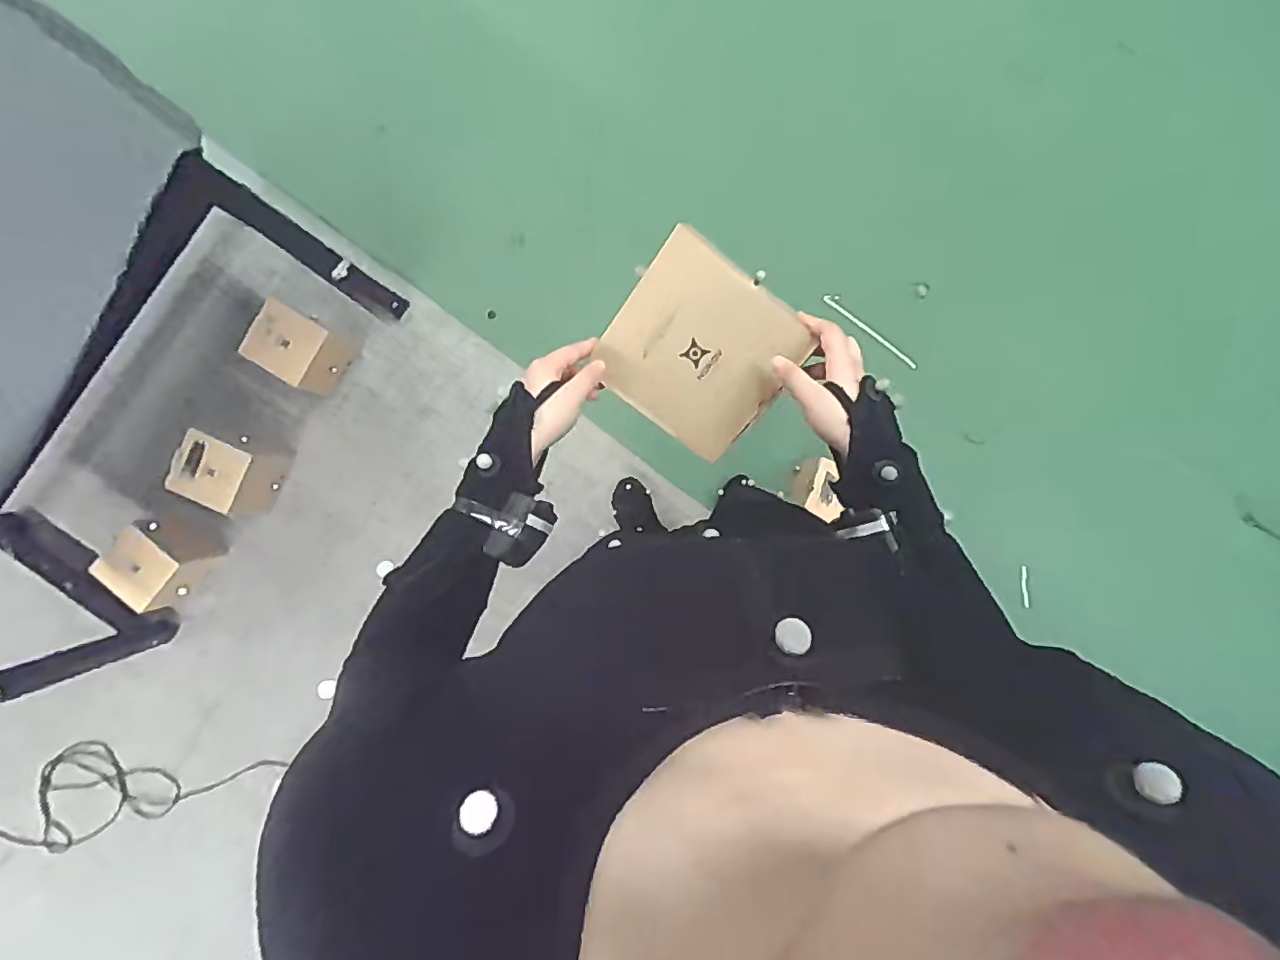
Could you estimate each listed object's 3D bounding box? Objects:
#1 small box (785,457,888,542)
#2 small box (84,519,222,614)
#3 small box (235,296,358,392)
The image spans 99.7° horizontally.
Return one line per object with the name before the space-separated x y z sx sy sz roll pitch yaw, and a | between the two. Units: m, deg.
small box | 0.498 0.048 1.402 0.179 0.176 0.168 21 92 0
small box | -1.266 0.217 1.423 0.179 0.176 0.168 40 92 0
small box | -0.880 -0.342 1.404 0.179 0.176 0.168 31 91 0
